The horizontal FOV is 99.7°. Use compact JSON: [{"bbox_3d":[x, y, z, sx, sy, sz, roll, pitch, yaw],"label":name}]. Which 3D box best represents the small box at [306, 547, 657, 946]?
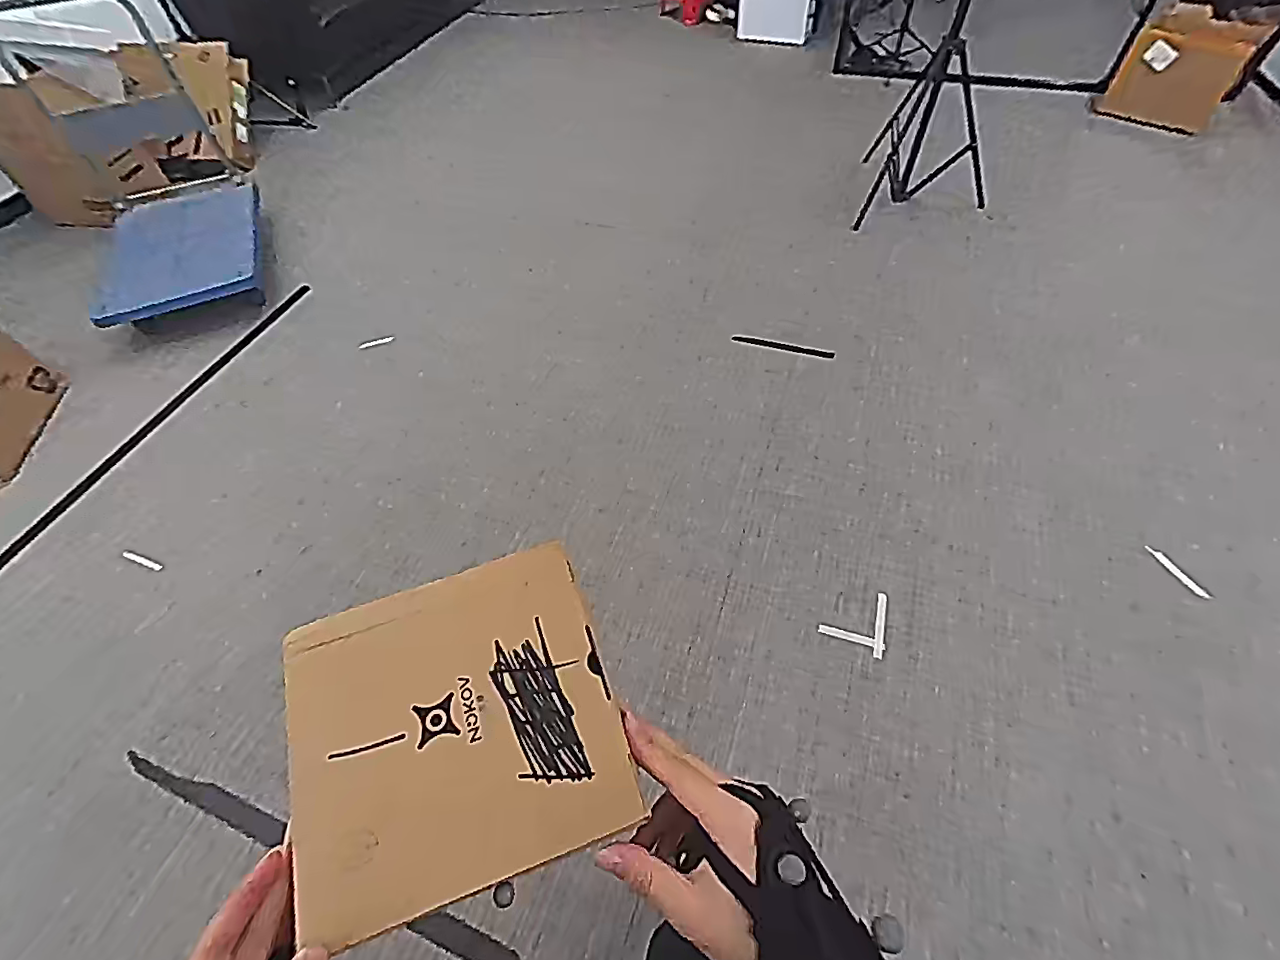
[{"bbox_3d":[-0.098,0.173,0.380,0.179,0.176,0.168,-17,62,-9],"label":"small box"}]
